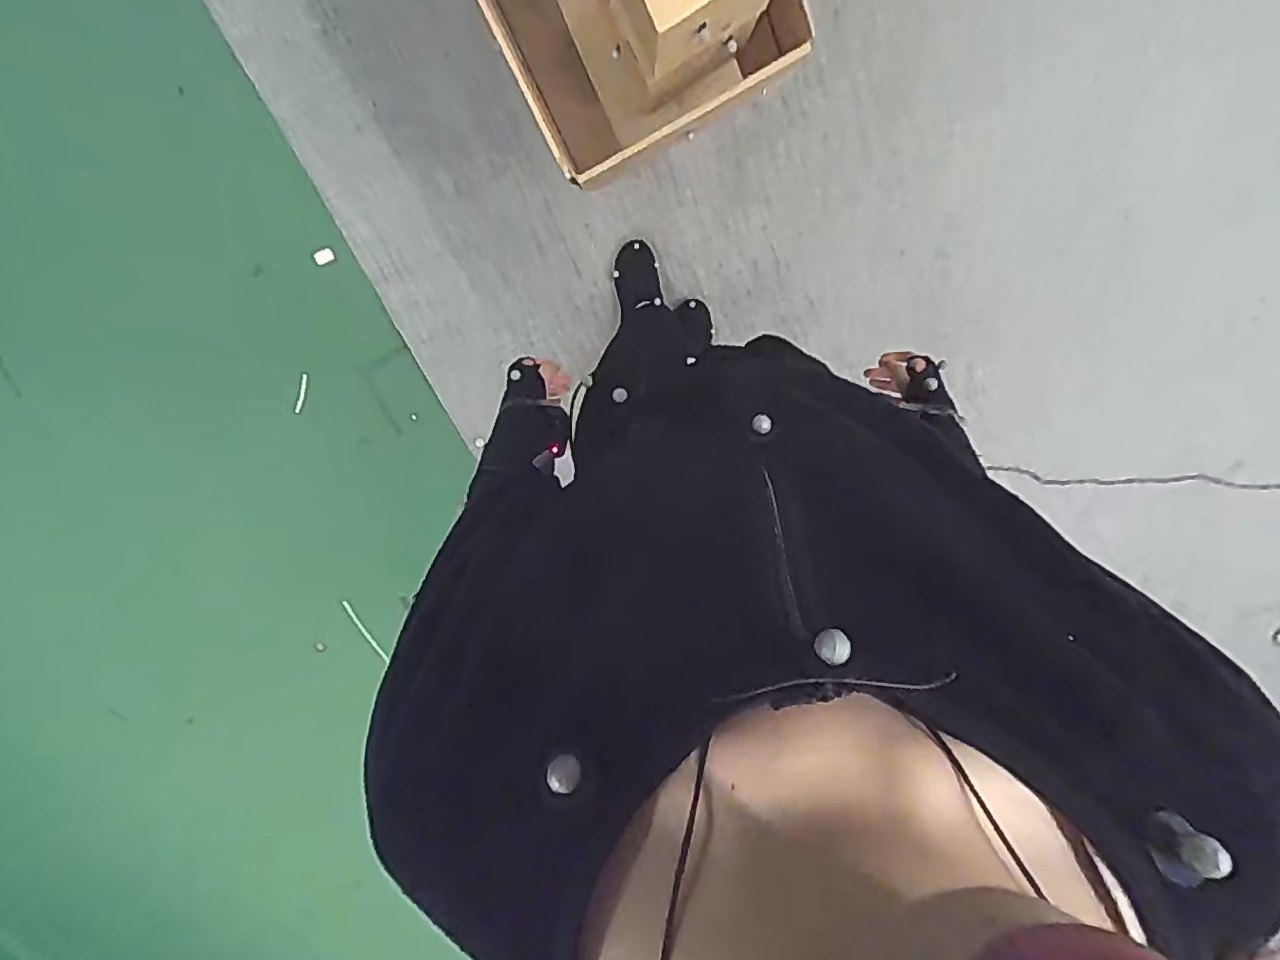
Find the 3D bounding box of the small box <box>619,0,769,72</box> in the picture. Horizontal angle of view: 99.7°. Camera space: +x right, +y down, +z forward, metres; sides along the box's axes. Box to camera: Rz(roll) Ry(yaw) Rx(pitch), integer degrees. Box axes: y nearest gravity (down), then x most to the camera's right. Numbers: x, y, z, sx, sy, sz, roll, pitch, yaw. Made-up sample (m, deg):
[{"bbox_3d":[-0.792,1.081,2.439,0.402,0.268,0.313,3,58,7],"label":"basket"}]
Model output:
[{"bbox_3d":[0.053,-0.612,0.620,0.168,0.176,0.179,-26,109,11],"label":"small box"}]
